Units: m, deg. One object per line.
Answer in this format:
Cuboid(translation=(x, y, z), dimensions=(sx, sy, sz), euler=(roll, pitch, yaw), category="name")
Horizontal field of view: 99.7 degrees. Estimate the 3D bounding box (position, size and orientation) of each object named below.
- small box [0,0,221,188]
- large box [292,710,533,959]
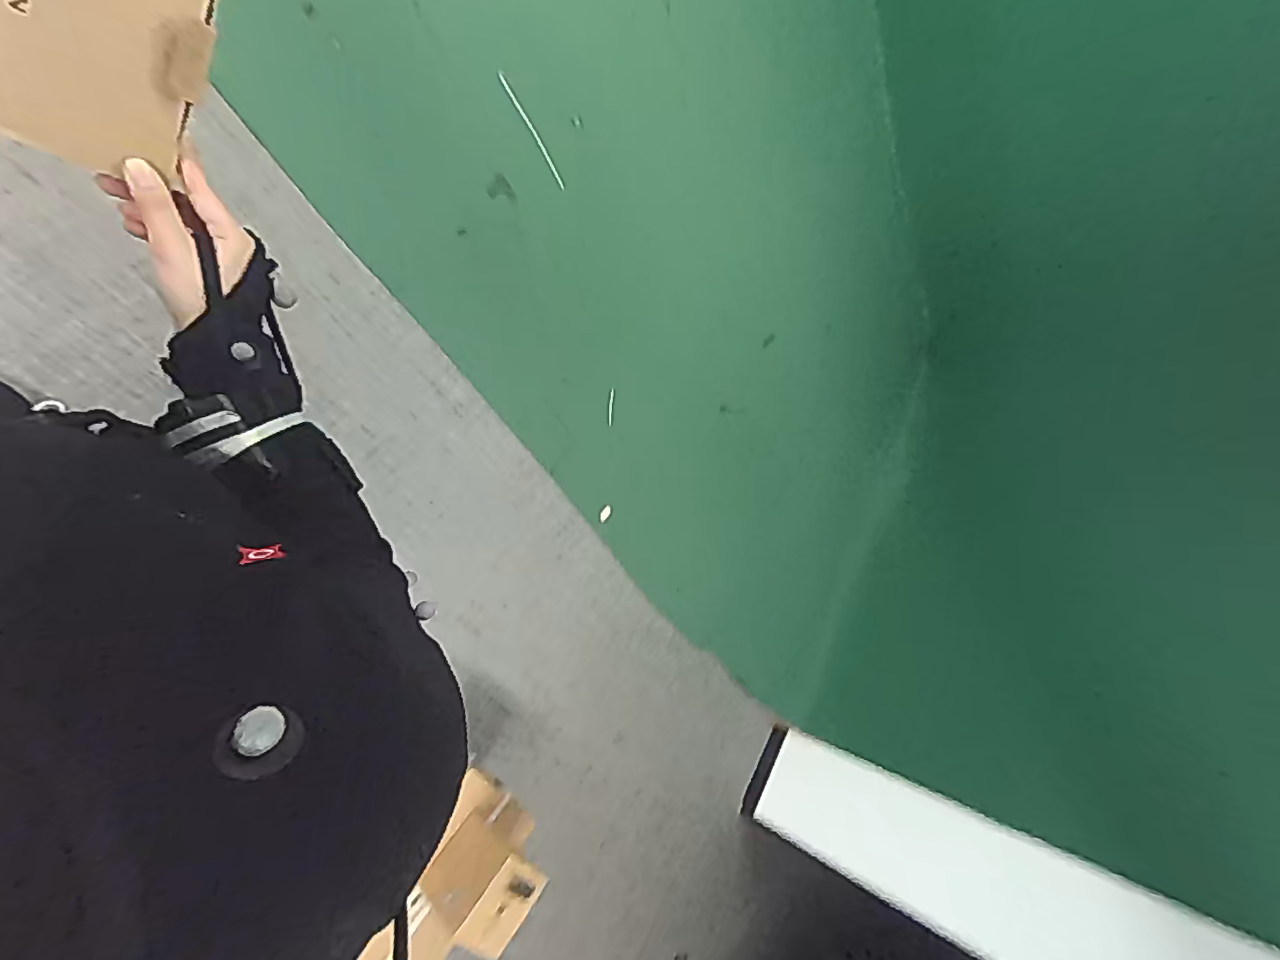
Cuboid(translation=(-0.364, -0.303, 0.297), dimensions=(0.179, 0.176, 0.168), euler=(5, 119, -53), category="small box")
Cuboid(translation=(-0.557, 0.878, 1.357), dimensions=(0.408, 0.320, 0.320), euler=(-49, 127, -28), category="large box")
